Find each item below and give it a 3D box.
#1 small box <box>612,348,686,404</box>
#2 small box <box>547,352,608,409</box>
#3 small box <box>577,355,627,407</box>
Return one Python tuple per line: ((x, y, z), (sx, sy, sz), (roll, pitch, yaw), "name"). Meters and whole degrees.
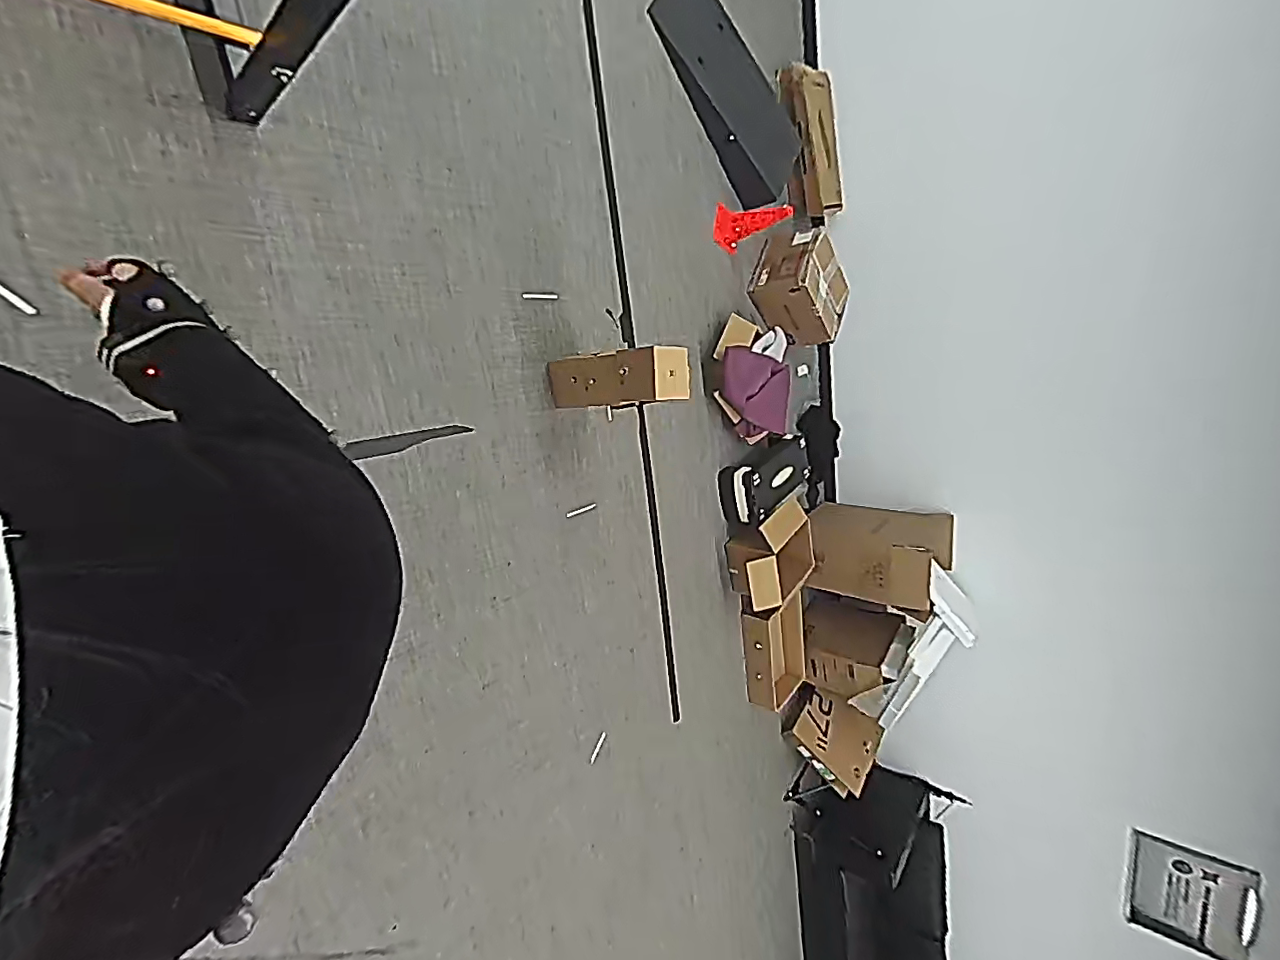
((0.029, -0.332, 1.738), (0.179, 0.176, 0.168), (-13, 102, -47), "small box")
((-0.216, -0.357, 1.953), (0.168, 0.176, 0.179), (-26, 113, -45), "small box")
((-0.090, -0.343, 1.848), (0.179, 0.176, 0.168), (-21, 109, -46), "small box")
